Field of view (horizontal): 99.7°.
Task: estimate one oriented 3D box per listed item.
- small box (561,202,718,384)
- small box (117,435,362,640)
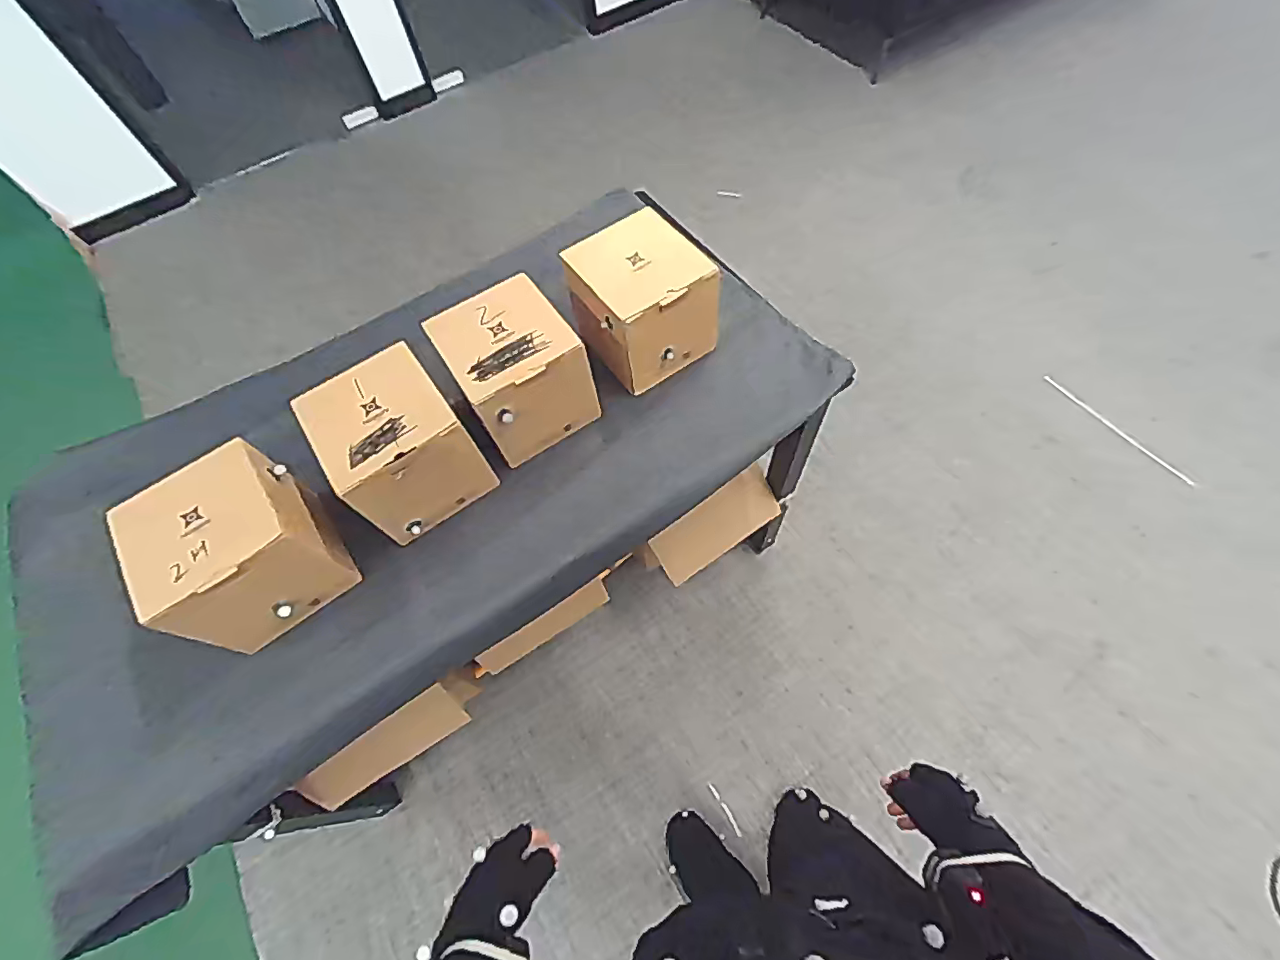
[{"bbox_3d":[0.001,-0.286,0.844,0.168,0.176,0.179,-34,66,-11],"label":"small box"},{"bbox_3d":[-0.505,0.082,0.702,0.168,0.176,0.179,-37,66,-13],"label":"small box"}]
